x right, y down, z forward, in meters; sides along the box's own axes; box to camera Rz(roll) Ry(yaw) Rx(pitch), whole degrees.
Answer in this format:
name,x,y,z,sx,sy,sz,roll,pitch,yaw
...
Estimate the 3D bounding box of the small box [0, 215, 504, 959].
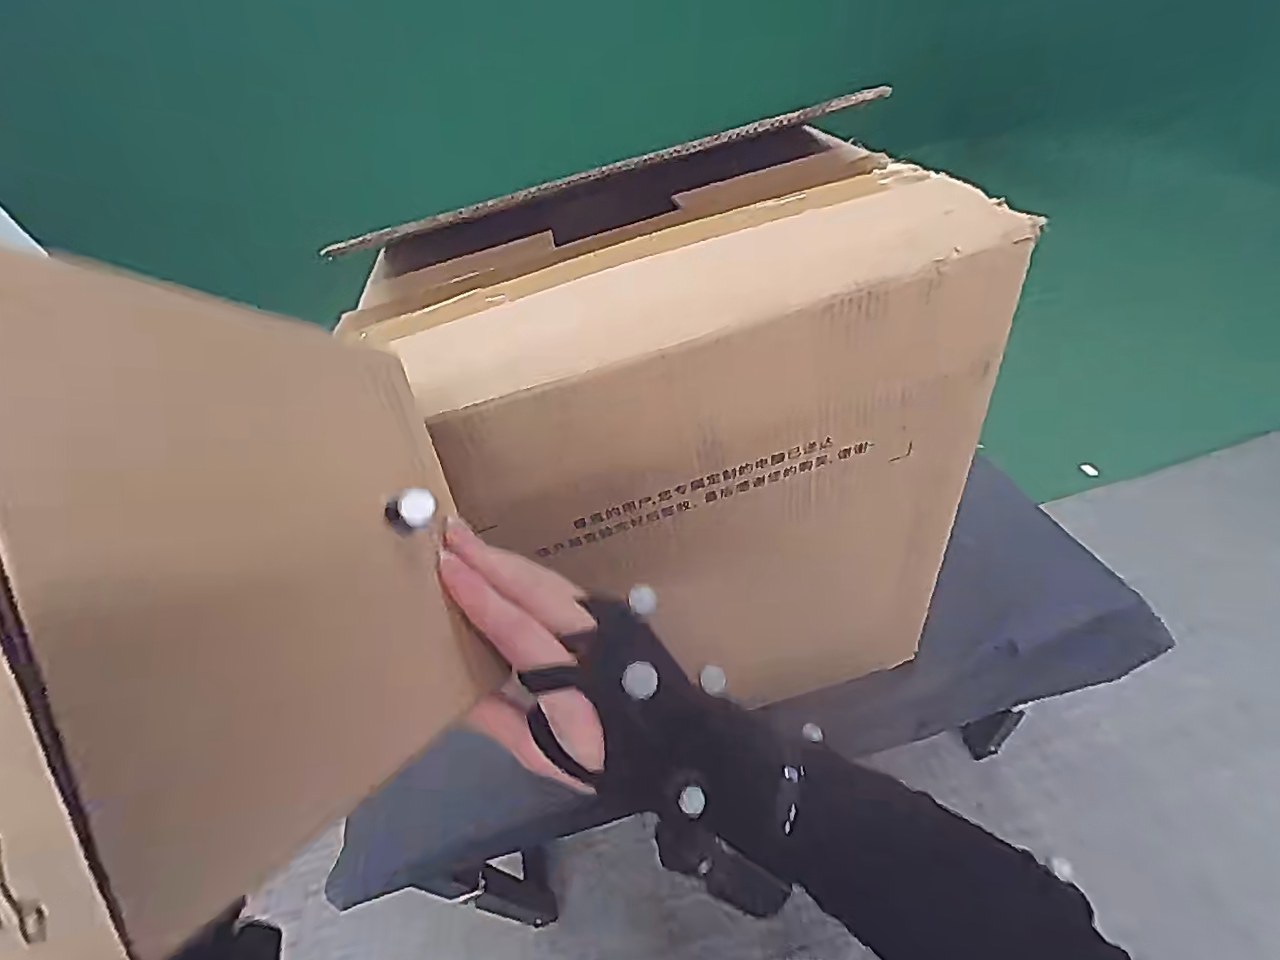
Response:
name,x,y,z,sx,sy,sz,roll,pitch,yaw
small box,-0.185,0.040,0.213,0.168,0.176,0.179,-22,86,16
